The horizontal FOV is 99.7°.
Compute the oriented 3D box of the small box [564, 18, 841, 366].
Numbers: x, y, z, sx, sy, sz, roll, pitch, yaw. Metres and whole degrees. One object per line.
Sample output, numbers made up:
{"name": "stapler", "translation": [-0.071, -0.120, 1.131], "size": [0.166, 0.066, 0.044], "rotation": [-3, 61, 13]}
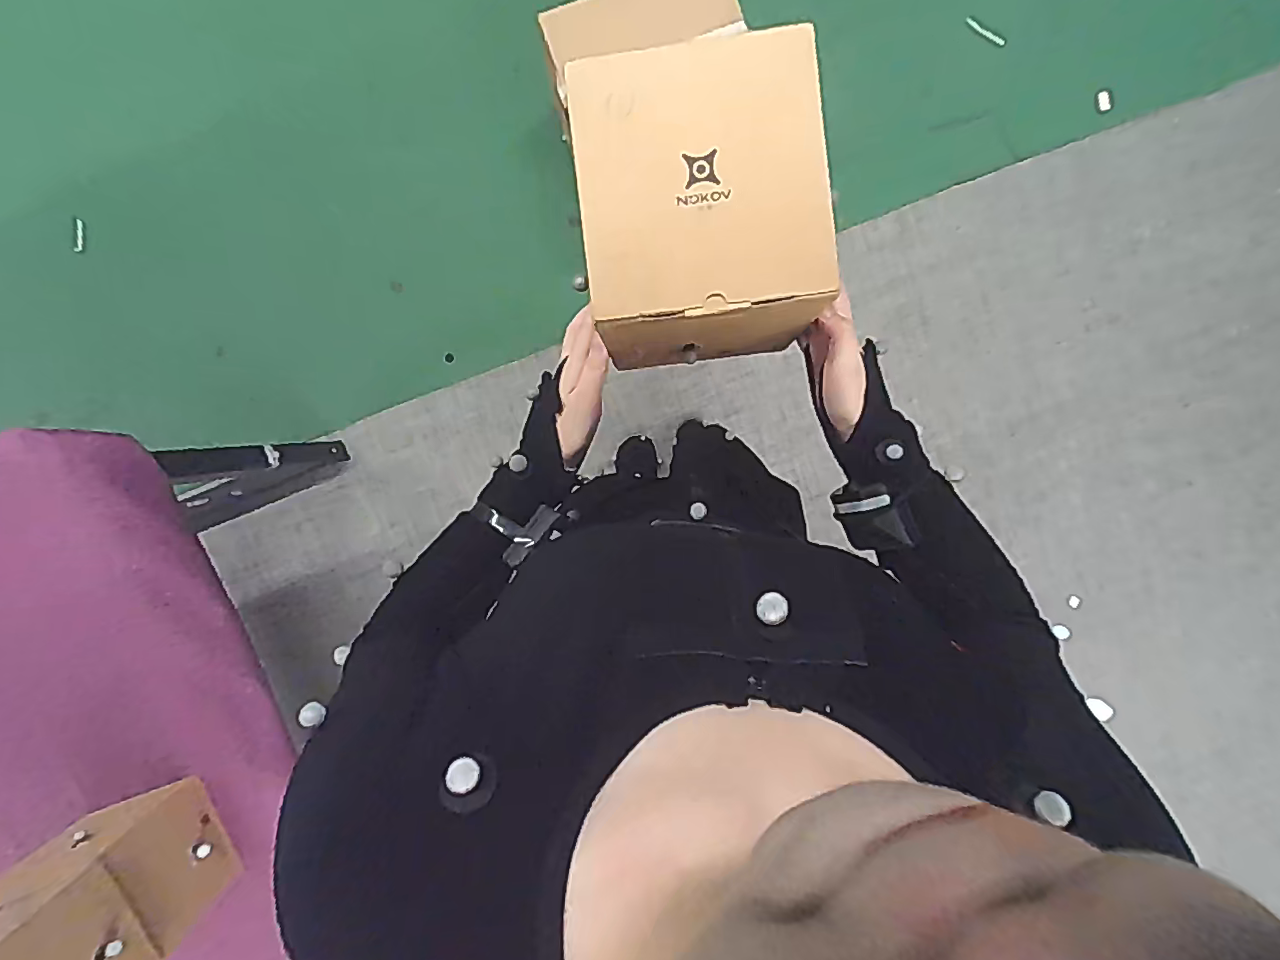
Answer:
{"name": "small box", "translation": [0.041, -0.200, 0.425], "size": [0.168, 0.176, 0.179], "rotation": [-7, 91, 2]}

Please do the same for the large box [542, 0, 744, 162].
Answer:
{"name": "large box", "translation": [0.027, -0.861, 1.259], "size": [0.408, 0.320, 0.320], "rotation": [-20, 96, -1]}

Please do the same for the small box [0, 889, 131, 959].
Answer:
{"name": "small box", "translation": [-0.654, 0.551, 0.528], "size": [0.168, 0.176, 0.179], "rotation": [-23, 95, 0]}

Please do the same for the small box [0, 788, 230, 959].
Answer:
{"name": "small box", "translation": [-0.689, 0.540, 0.690], "size": [0.179, 0.176, 0.168], "rotation": [-20, 96, -1]}
